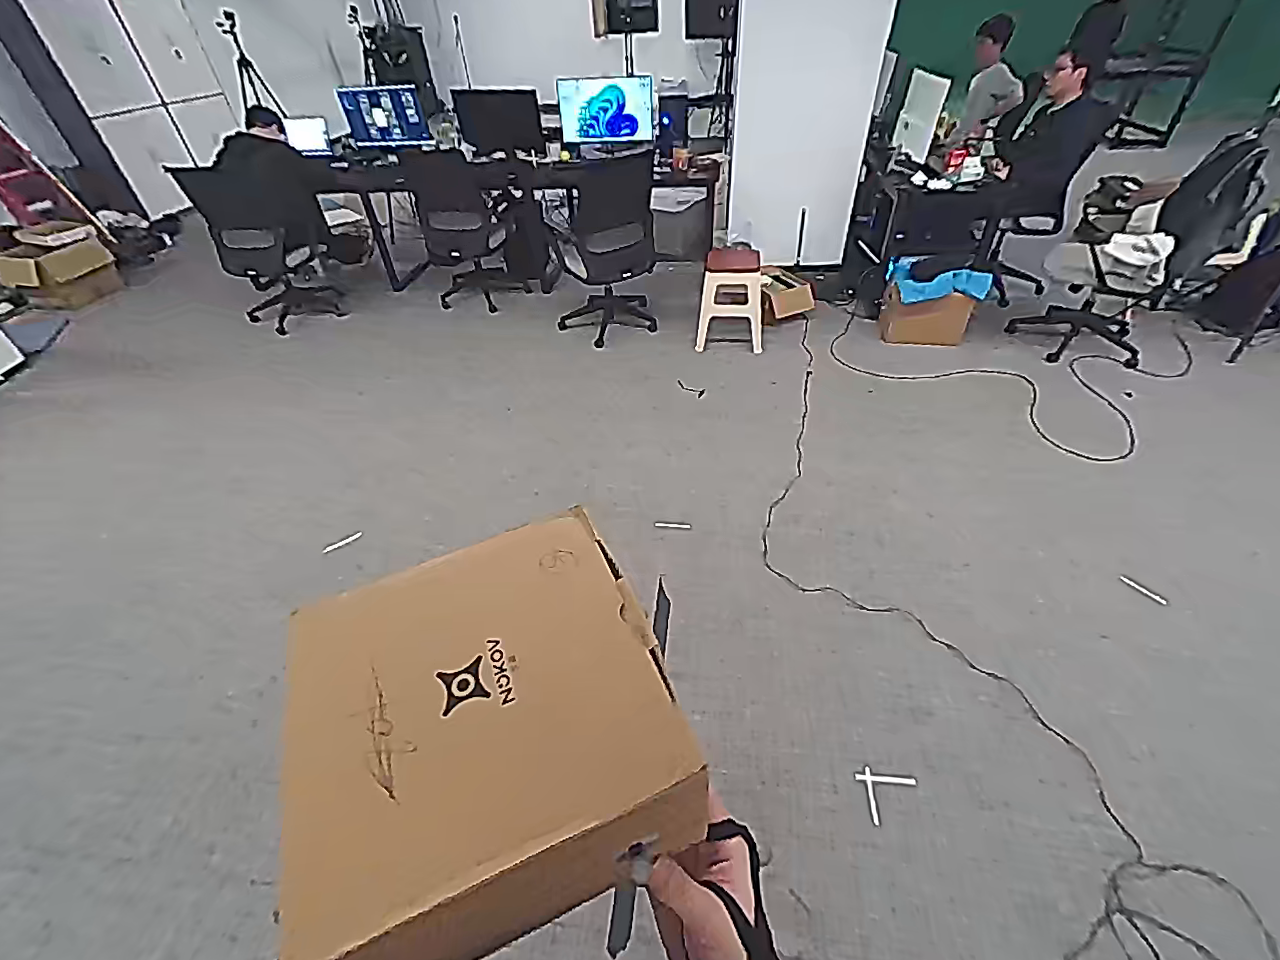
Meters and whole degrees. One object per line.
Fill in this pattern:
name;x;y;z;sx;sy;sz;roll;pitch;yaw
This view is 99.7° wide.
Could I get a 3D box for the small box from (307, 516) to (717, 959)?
small box;-0.069;0.159;0.332;0.179;0.176;0.168;-23;48;-13
